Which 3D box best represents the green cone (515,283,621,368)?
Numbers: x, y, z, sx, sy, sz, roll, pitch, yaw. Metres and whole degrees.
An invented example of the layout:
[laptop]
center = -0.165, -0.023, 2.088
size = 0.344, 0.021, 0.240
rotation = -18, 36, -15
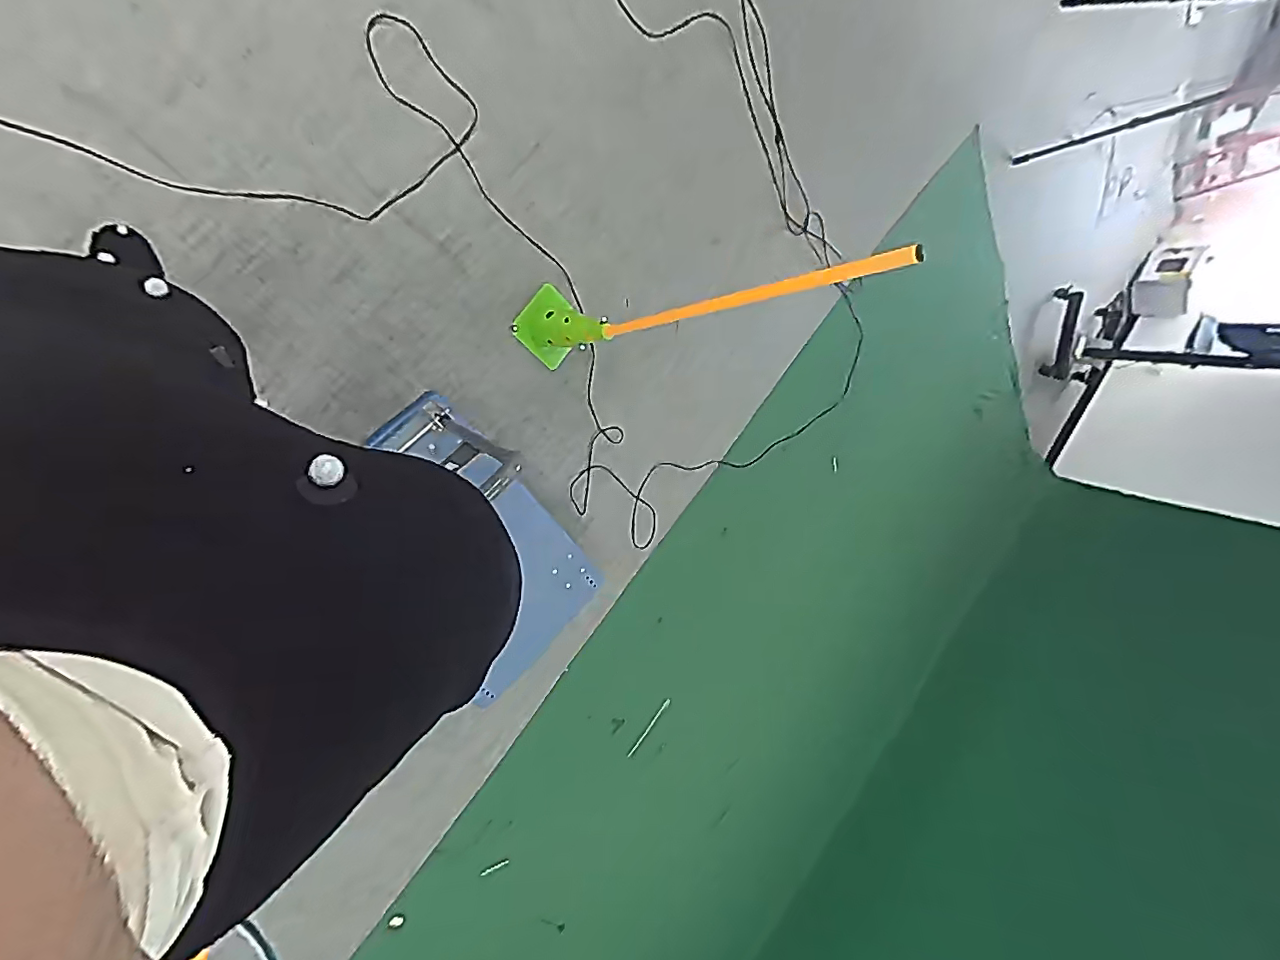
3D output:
[green cone]
center = -0.172, -0.439, 1.570
size = 0.200, 0.368, 0.202
rotation = 41, 78, -38
